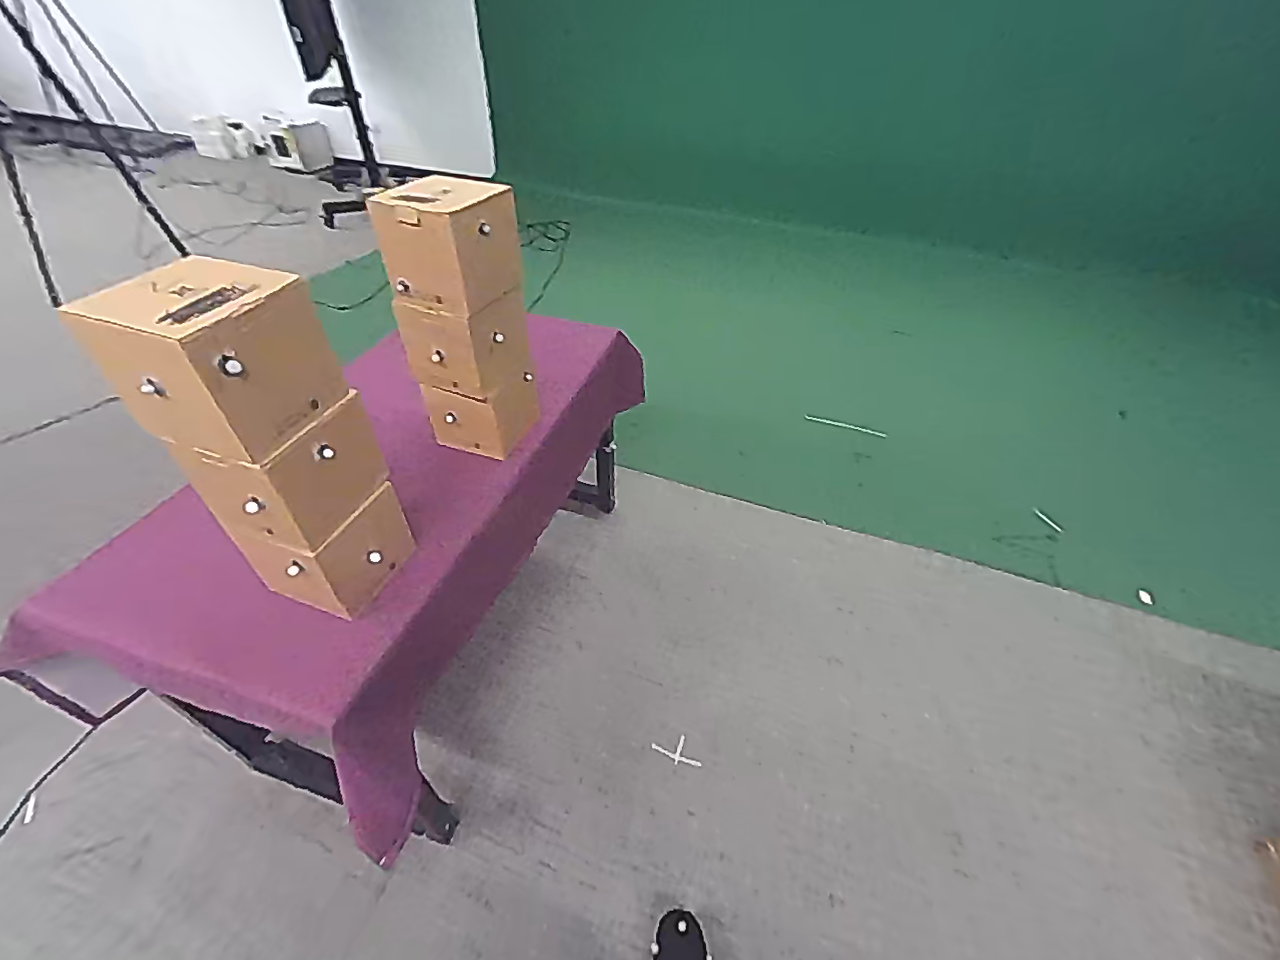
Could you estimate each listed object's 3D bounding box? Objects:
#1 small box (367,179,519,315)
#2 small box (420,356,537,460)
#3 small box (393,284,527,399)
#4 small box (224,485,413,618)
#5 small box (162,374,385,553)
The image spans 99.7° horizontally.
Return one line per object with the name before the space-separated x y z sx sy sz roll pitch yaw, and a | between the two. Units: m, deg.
small box | -0.329 -0.408 0.947 0.168 0.176 0.179 17 44 16
small box | -0.336 -0.166 1.170 0.168 0.176 0.179 14 44 13
small box | -0.336 -0.282 1.053 0.168 0.176 0.179 17 46 16
small box | -0.504 0.099 0.880 0.179 0.176 0.168 15 44 14
small box | -0.500 -0.023 0.773 0.168 0.176 0.179 15 44 13
